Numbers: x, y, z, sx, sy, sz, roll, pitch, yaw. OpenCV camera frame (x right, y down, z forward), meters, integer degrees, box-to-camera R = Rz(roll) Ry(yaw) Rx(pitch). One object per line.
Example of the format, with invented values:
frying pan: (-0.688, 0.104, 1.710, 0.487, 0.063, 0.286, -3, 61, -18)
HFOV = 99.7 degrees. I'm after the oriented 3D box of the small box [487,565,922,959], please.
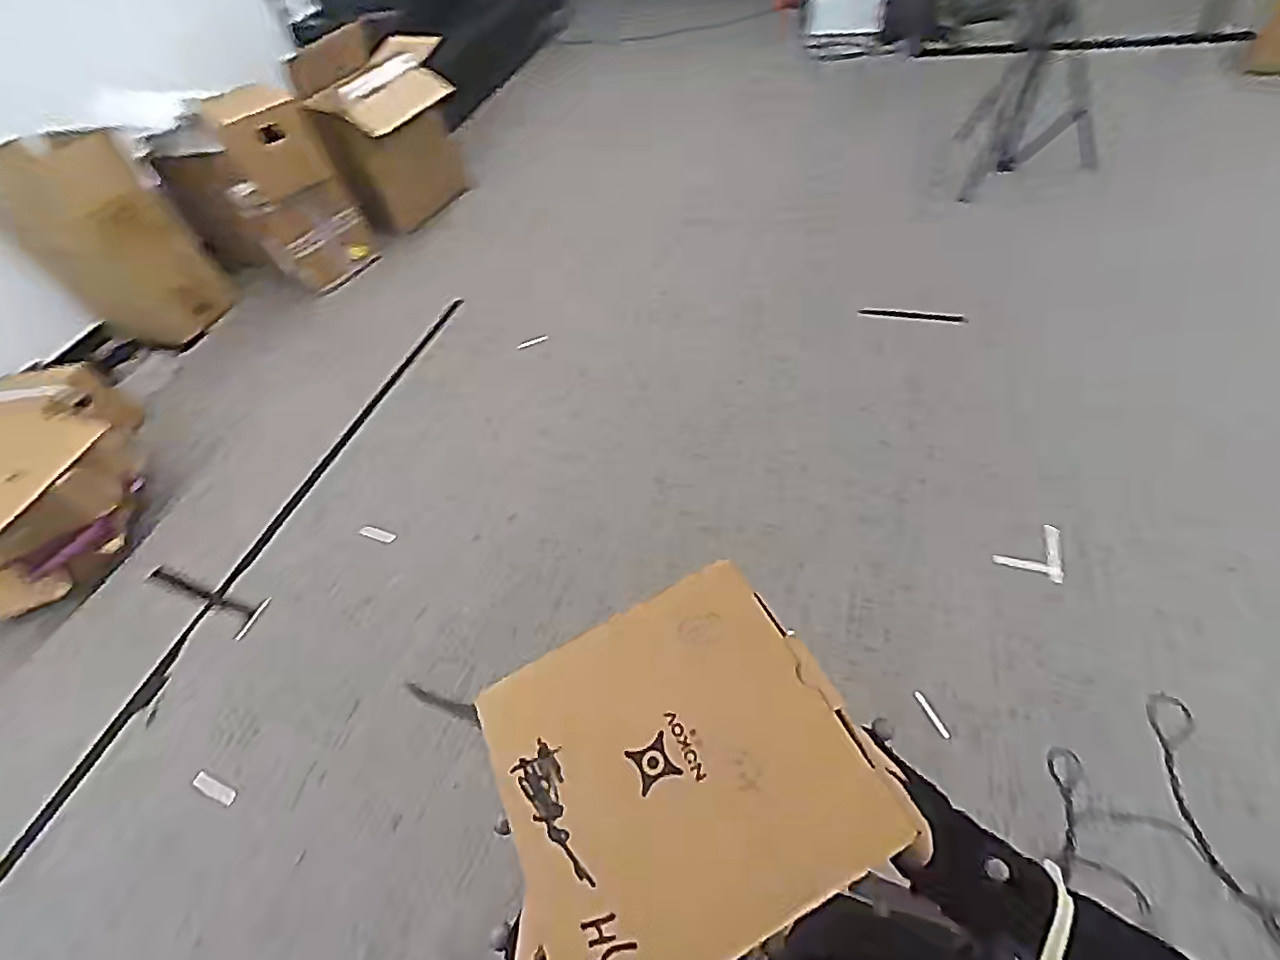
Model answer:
small box: (0.031, 0.188, 0.343, 0.179, 0.176, 0.168, -25, 54, -7)
